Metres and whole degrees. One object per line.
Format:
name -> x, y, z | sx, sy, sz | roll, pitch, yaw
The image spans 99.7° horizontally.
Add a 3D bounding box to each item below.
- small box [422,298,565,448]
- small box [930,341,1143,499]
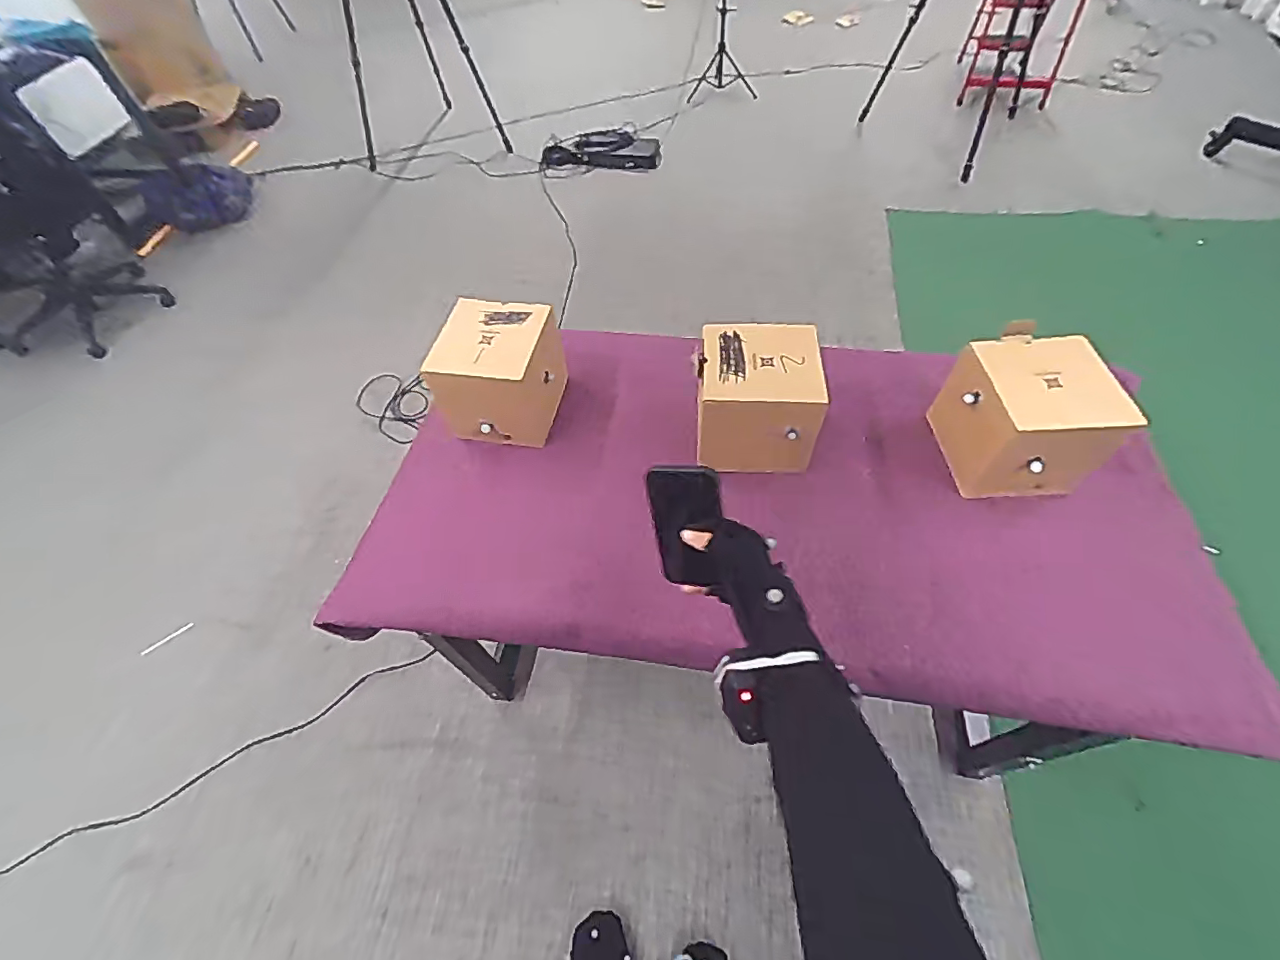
small box -> -0.233, -0.180, 0.918 | 0.168, 0.176, 0.179 | 7, 57, 8
small box -> 0.568, -0.081, 0.806 | 0.168, 0.176, 0.179 | -3, 54, 2
